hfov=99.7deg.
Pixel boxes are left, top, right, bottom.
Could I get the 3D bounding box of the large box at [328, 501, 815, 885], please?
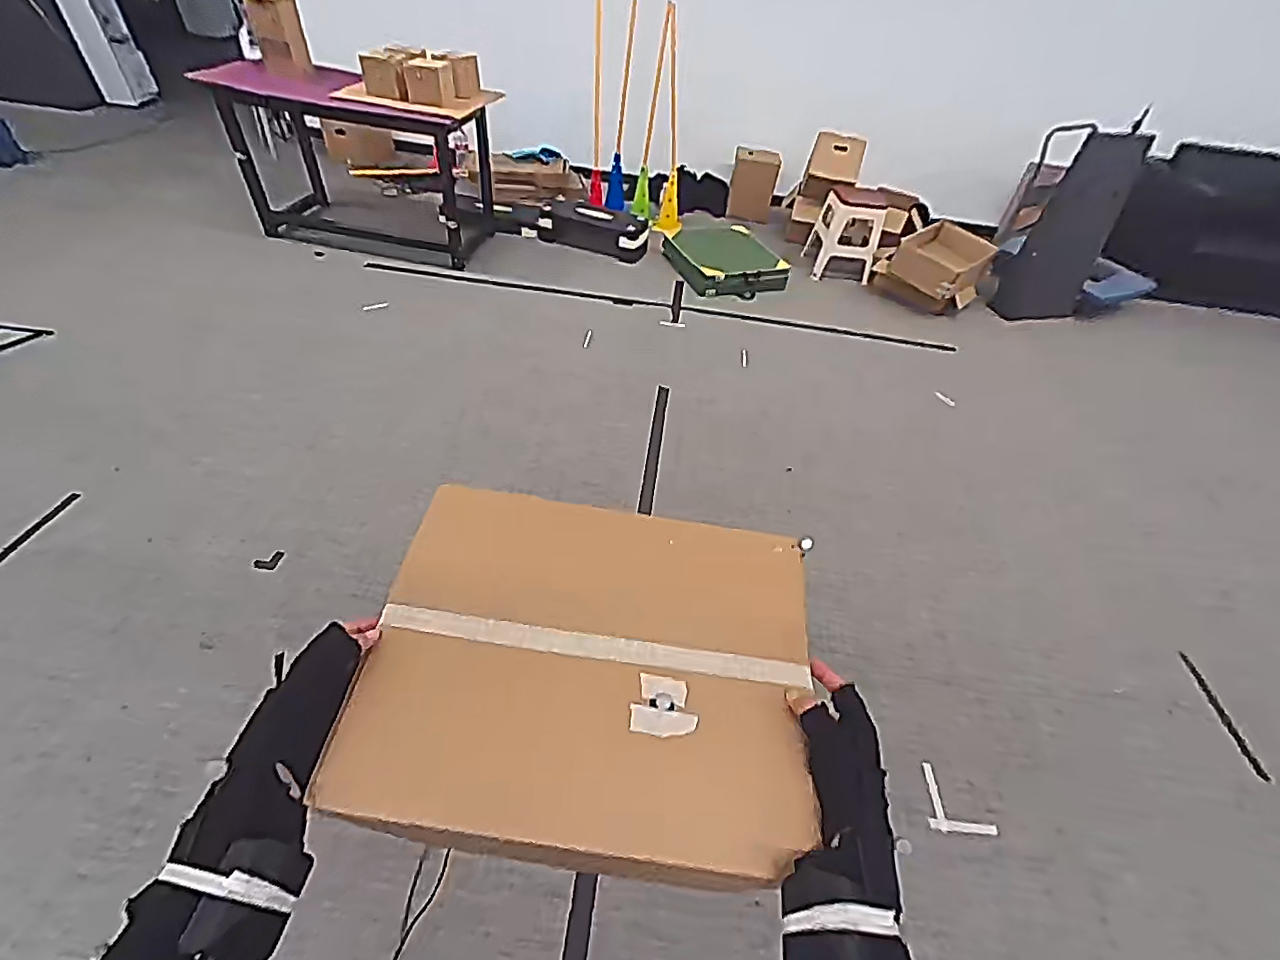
[{"bbox_3d":[-0.054,0.260,0.638,0.408,0.320,0.320,9,53,0],"label":"large box"}]
